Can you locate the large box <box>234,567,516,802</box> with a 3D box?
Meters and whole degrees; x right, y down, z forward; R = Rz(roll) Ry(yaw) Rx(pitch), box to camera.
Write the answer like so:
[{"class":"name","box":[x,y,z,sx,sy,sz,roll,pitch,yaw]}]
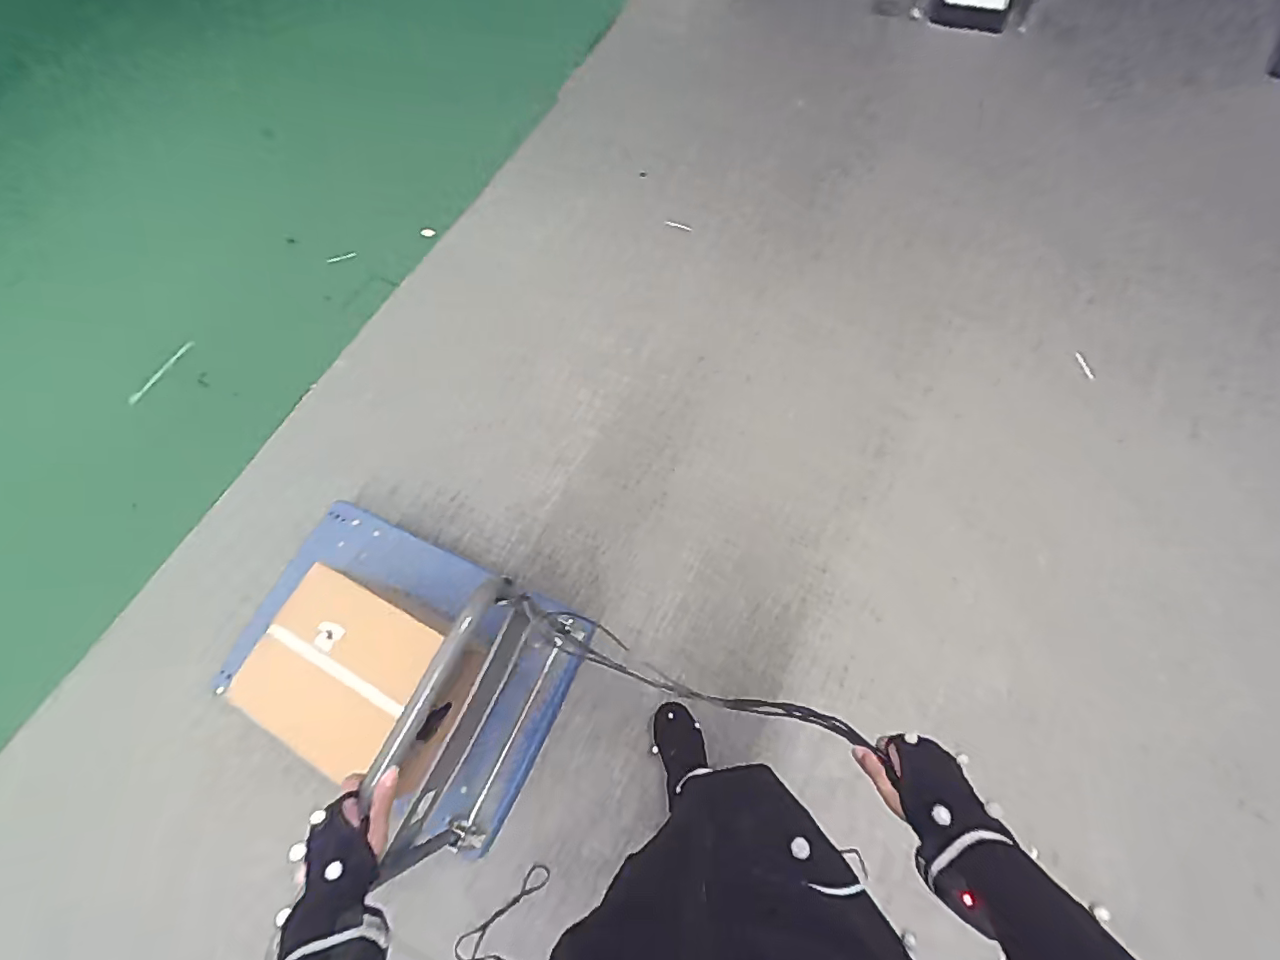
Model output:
[{"class":"large box","box":[-0.564,0.446,1.221,0.408,0.320,0.320,24,72,17]}]
